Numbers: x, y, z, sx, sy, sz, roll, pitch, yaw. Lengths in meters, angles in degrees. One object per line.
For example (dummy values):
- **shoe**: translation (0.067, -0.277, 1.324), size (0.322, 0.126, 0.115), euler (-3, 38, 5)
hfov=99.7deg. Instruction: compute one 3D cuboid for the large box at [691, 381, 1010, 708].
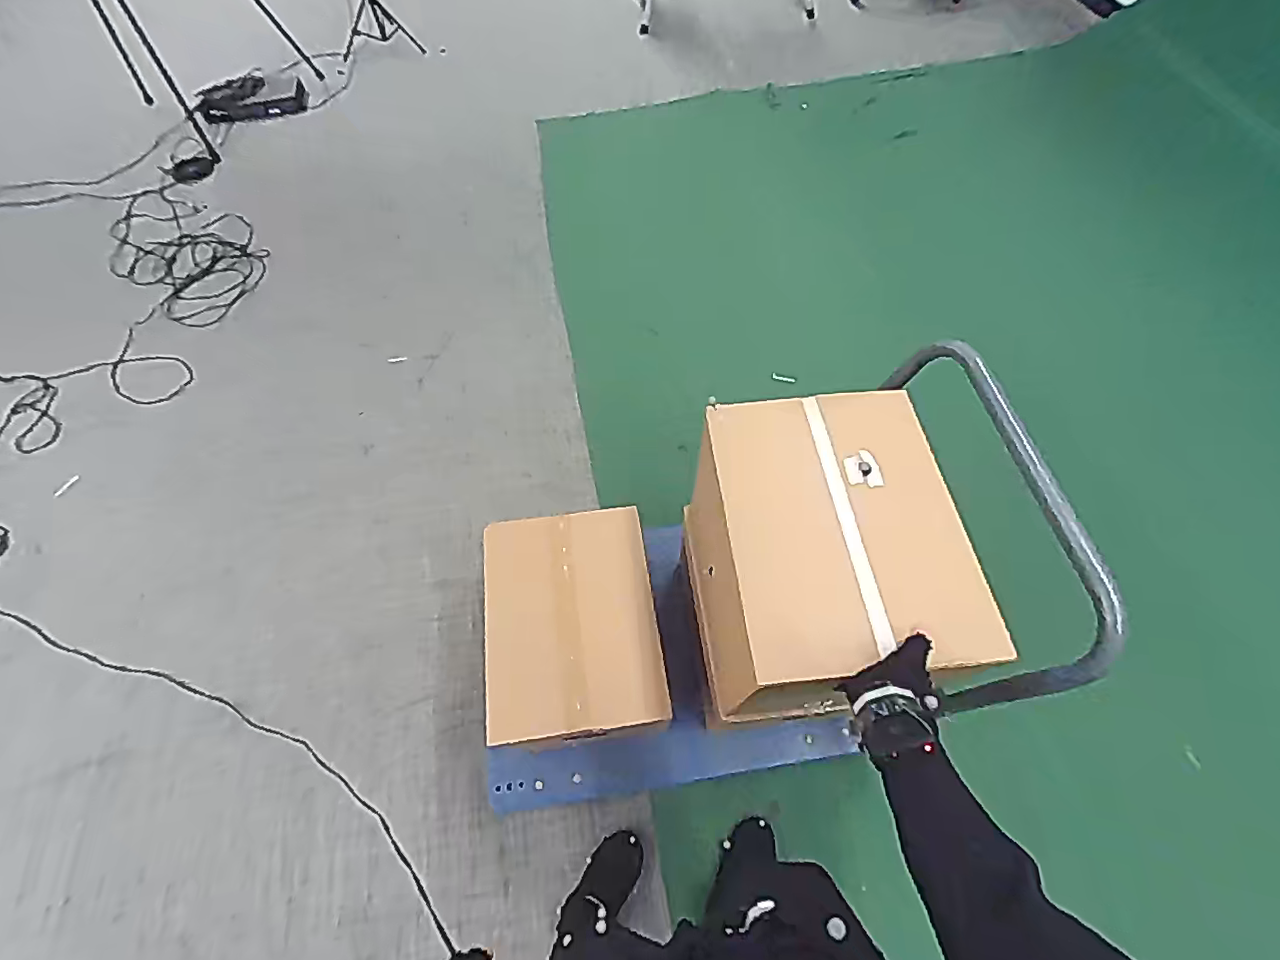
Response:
- **large box**: translation (0.264, 0.110, 0.846), size (0.320, 0.320, 0.408), euler (-5, 60, -2)
